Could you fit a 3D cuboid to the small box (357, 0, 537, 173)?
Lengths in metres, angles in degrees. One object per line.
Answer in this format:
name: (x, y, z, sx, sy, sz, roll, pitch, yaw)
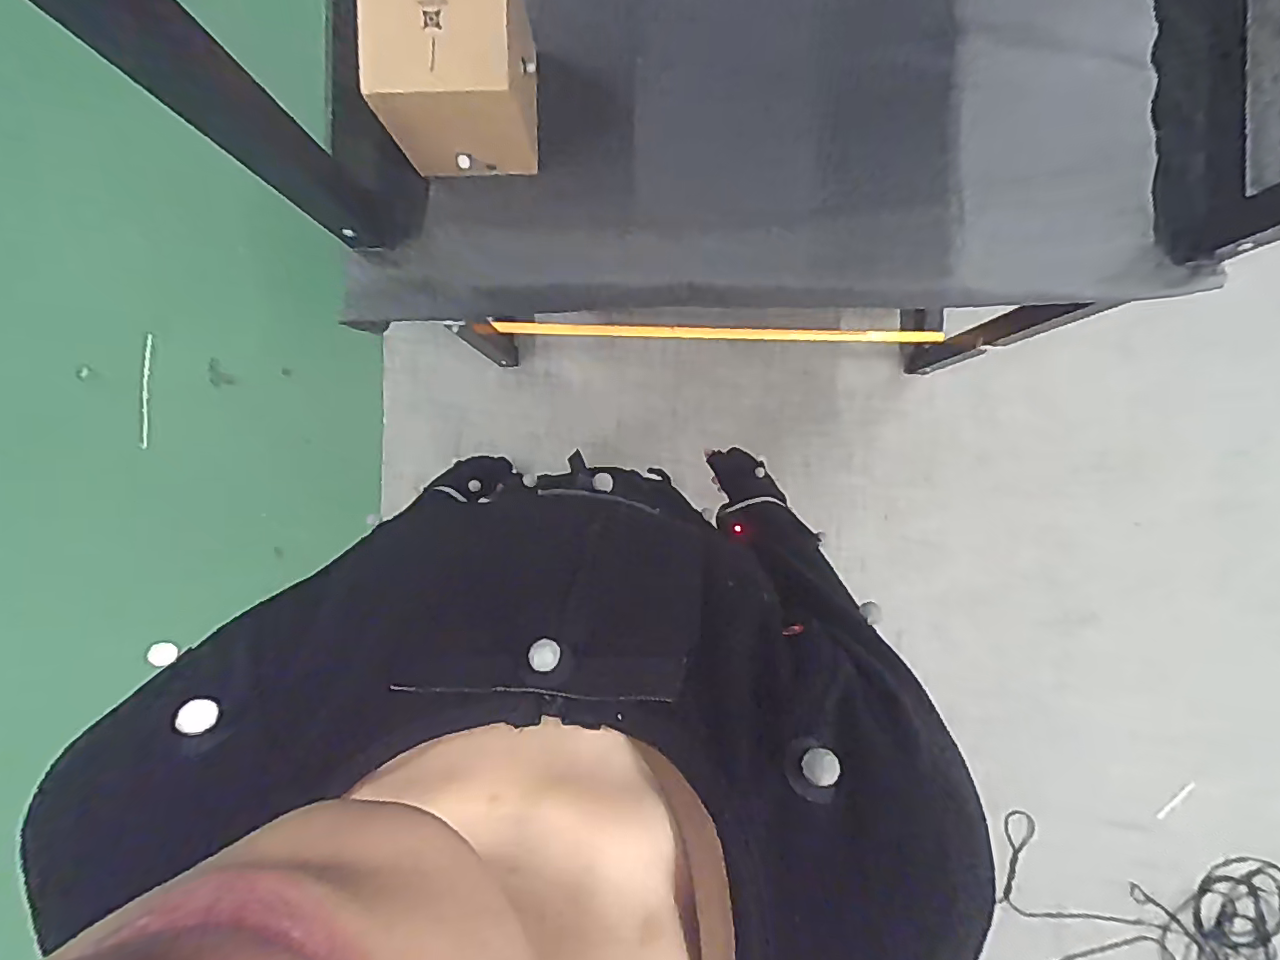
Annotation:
small box: (-0.224, -0.511, 0.664, 0.168, 0.176, 0.179, -1, 91, 0)
